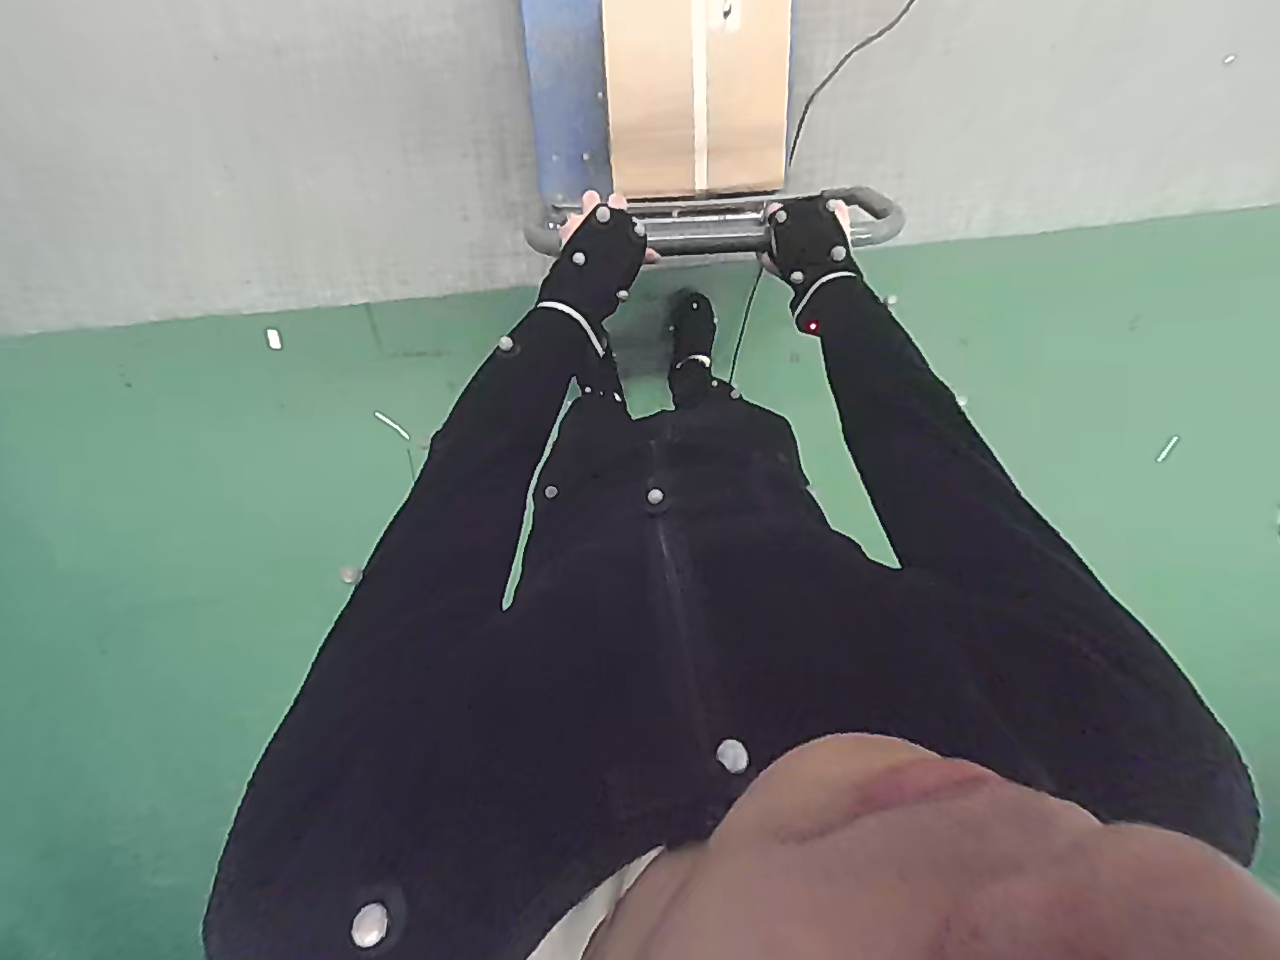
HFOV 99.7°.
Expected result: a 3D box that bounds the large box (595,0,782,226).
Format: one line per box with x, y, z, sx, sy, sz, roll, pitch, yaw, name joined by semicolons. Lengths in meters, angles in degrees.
0.084;-0.745;1.066;0.320;0.320;0.408;-5;110;-2;large box
